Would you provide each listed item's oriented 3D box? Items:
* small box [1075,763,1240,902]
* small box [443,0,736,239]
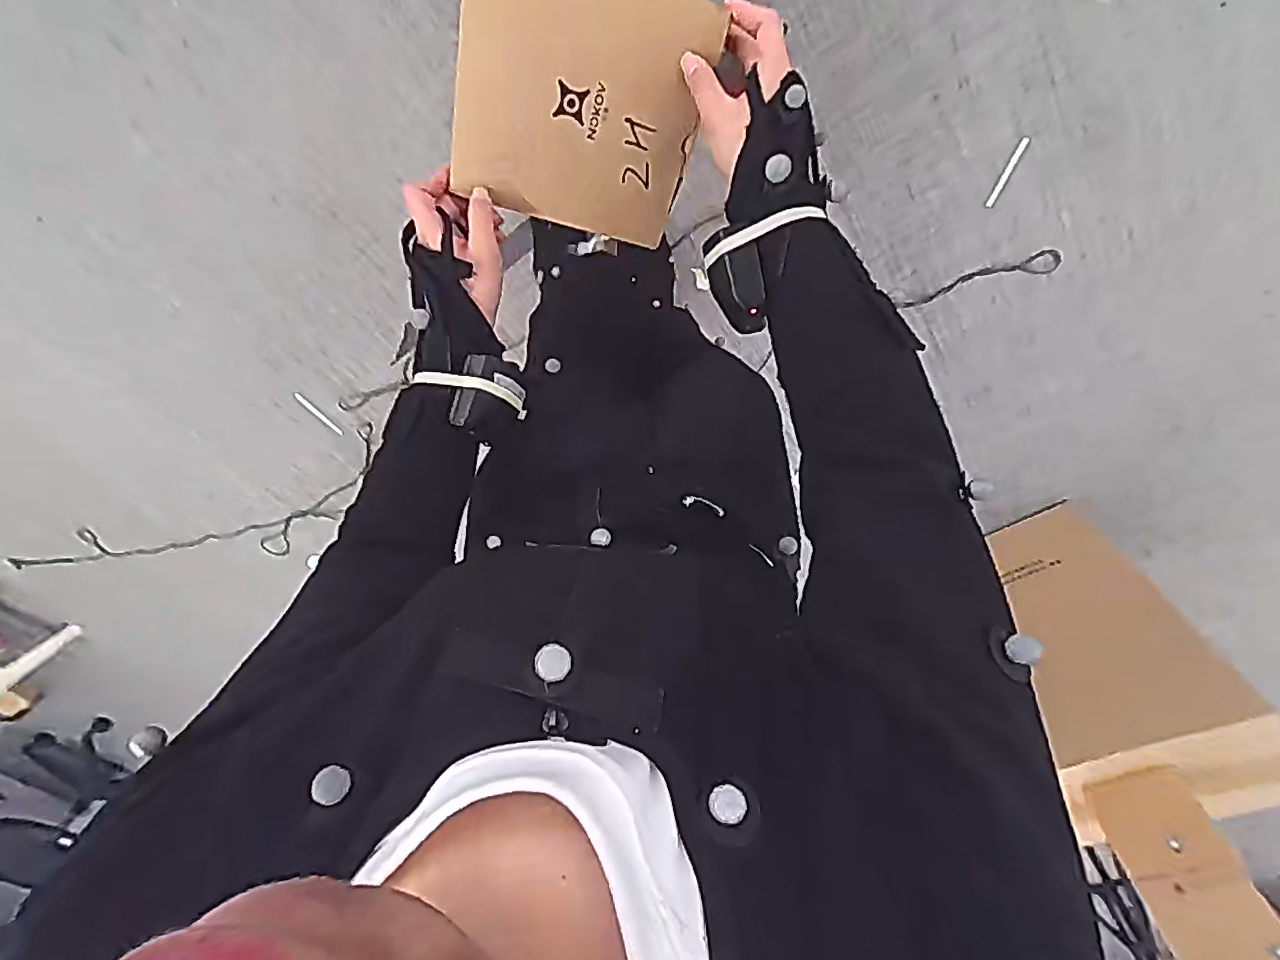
[{"bbox_3d":[1.020,0.704,1.084,0.179,0.176,0.168,-32,119,21],"label":"small box"},{"bbox_3d":[-0.052,-0.332,0.441,0.179,0.176,0.168,9,134,-19],"label":"small box"}]
